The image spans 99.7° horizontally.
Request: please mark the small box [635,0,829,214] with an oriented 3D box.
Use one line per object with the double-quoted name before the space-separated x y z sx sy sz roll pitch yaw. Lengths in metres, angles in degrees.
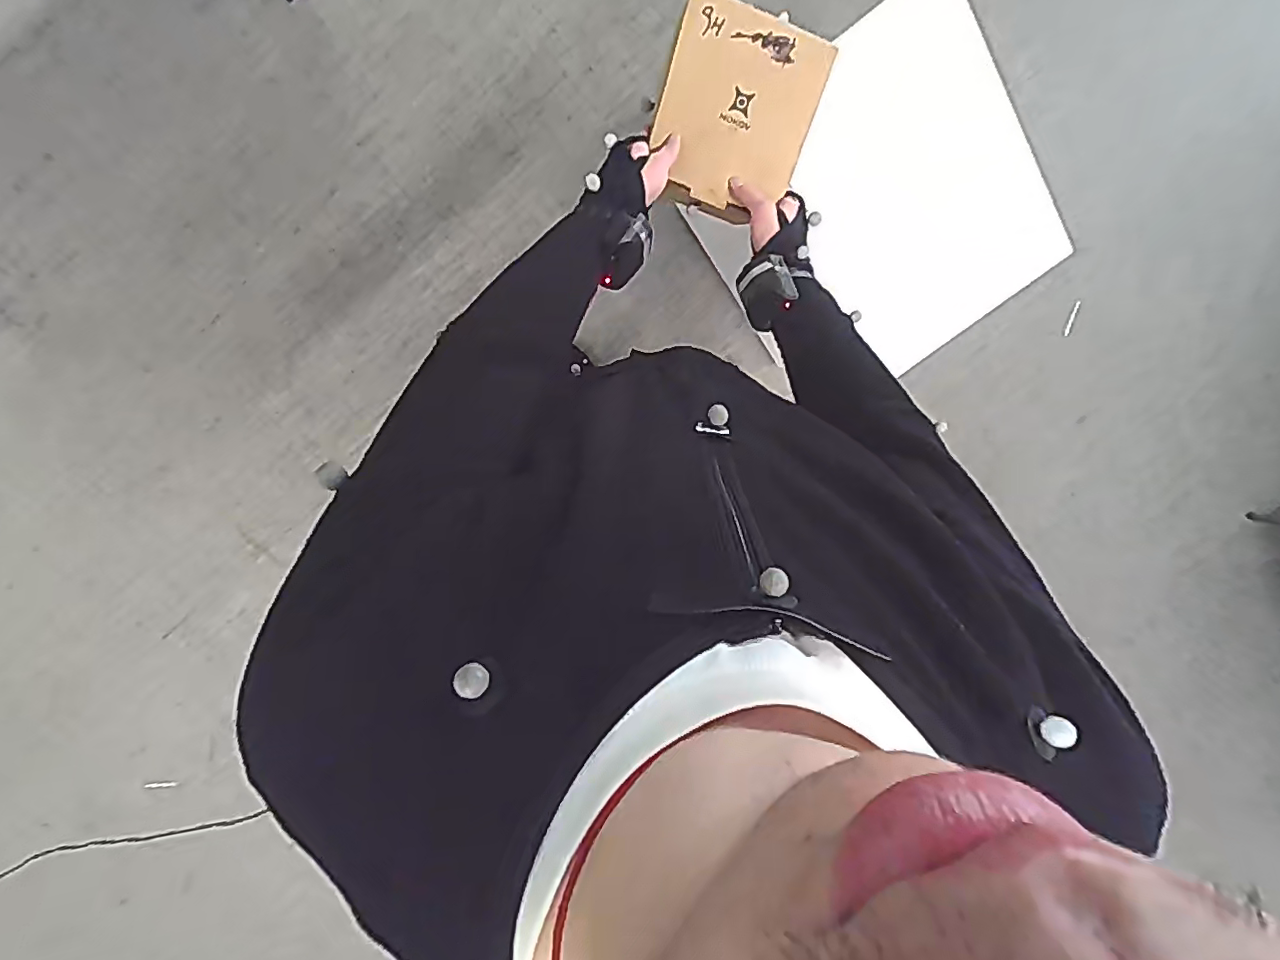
"small box" 0.093 -0.437 0.654 0.168 0.176 0.179 13 112 -10
